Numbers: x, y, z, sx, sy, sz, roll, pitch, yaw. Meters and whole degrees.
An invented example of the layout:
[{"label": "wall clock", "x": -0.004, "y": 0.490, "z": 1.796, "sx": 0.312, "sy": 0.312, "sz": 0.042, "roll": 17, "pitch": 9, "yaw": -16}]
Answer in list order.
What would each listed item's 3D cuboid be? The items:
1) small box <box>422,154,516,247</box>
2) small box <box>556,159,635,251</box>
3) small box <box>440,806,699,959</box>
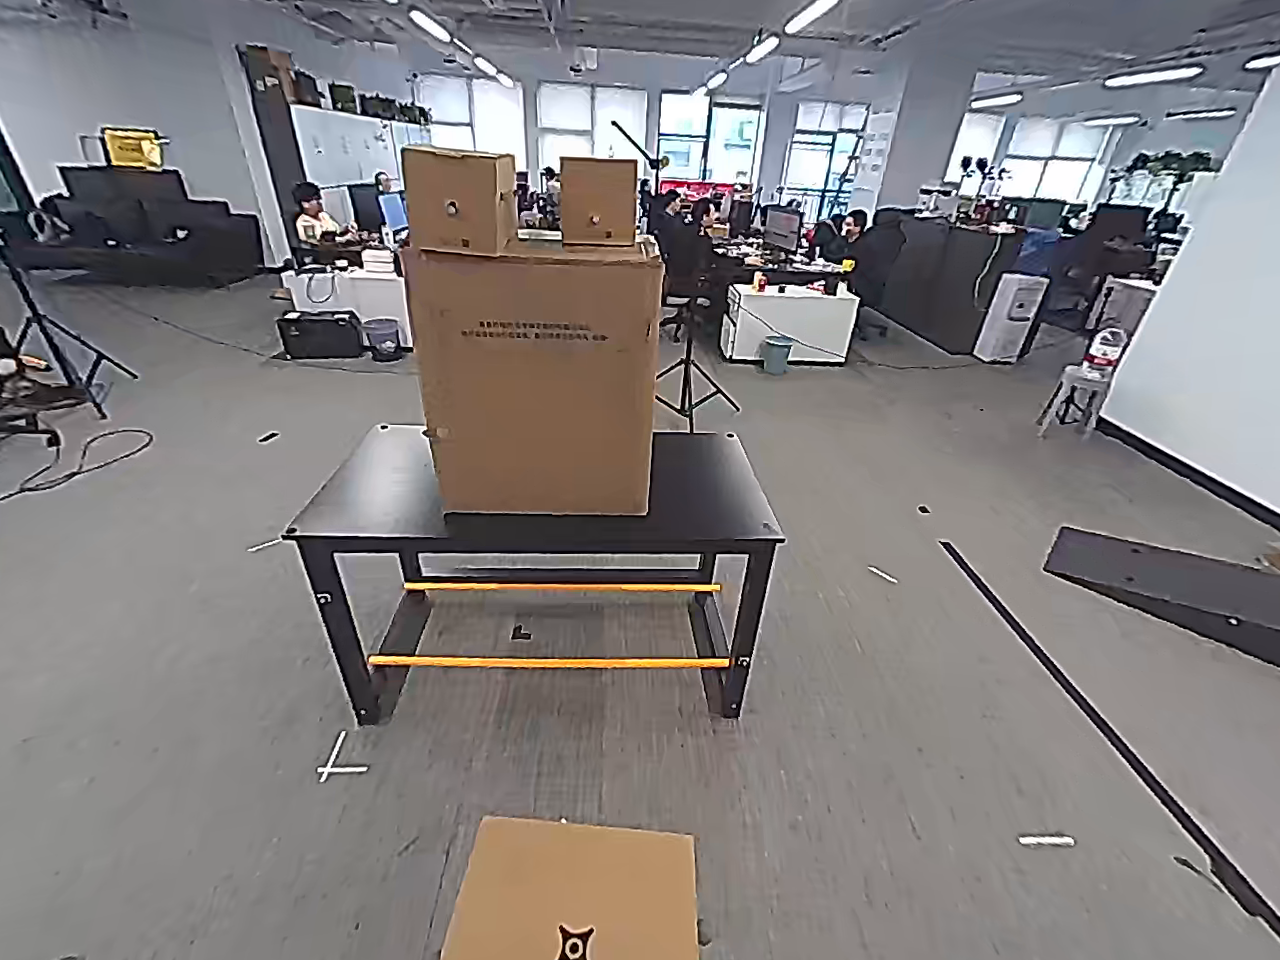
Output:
[{"label": "small box", "x": -0.376, "y": -0.632, "z": 1.222, "sx": 0.168, "sy": 0.176, "sz": 0.179, "roll": 0, "pitch": 30, "yaw": -5}, {"label": "small box", "x": -0.101, "y": -0.623, "z": 1.225, "sx": 0.168, "sy": 0.176, "sz": 0.179, "roll": -2, "pitch": 30, "yaw": -5}, {"label": "small box", "x": -0.049, "y": 0.373, "z": 0.382, "sx": 0.168, "sy": 0.176, "sz": 0.179, "roll": 4, "pitch": 26, "yaw": 1}]
